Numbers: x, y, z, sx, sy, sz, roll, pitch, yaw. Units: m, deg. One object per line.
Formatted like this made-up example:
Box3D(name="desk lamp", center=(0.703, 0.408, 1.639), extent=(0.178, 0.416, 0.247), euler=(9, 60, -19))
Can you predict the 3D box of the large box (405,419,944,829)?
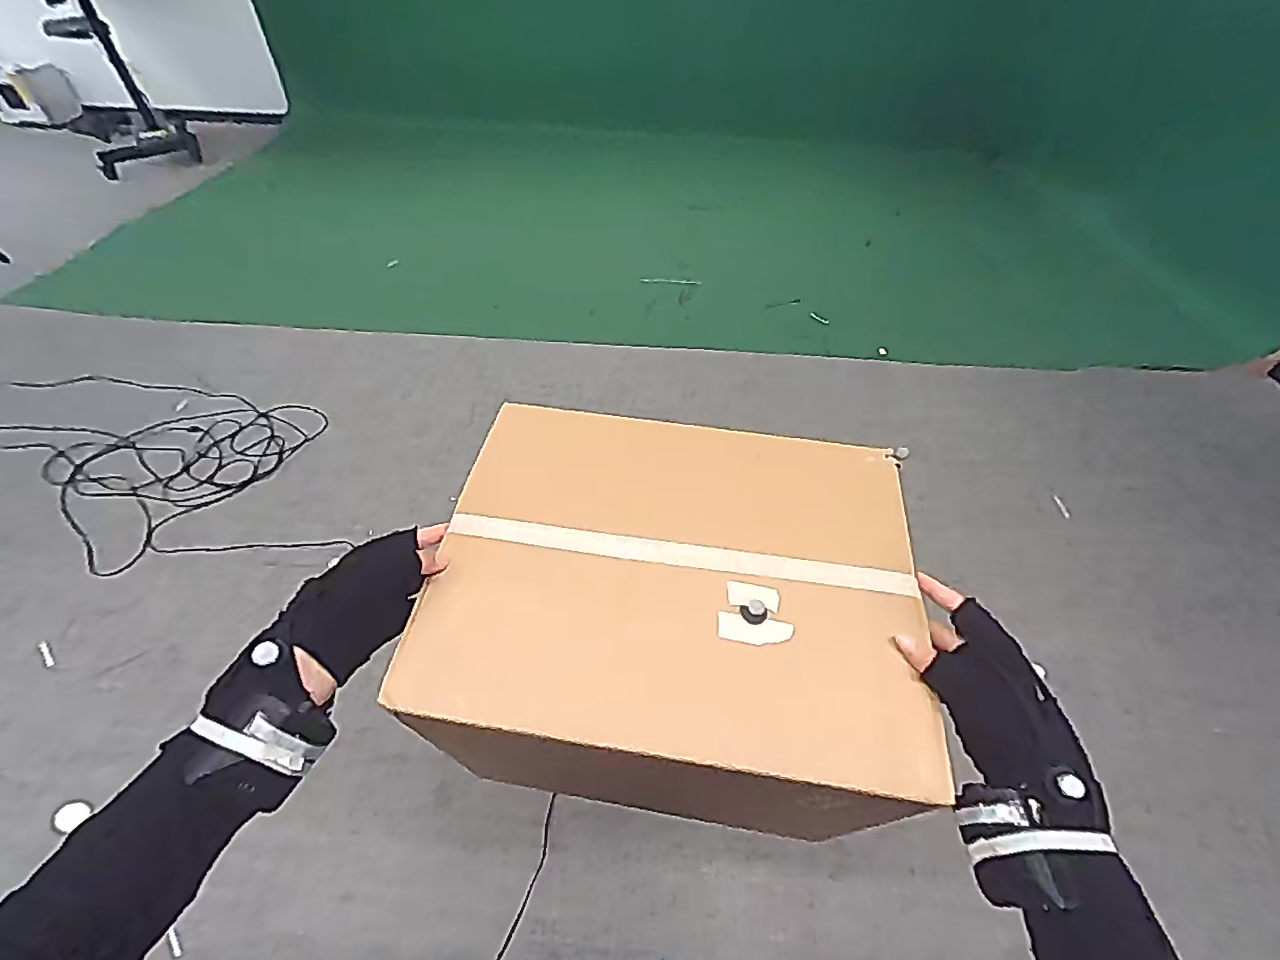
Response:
Box3D(name="large box", center=(0.034, 0.164, 0.597), extent=(0.408, 0.320, 0.320), euler=(7, 53, 5))
